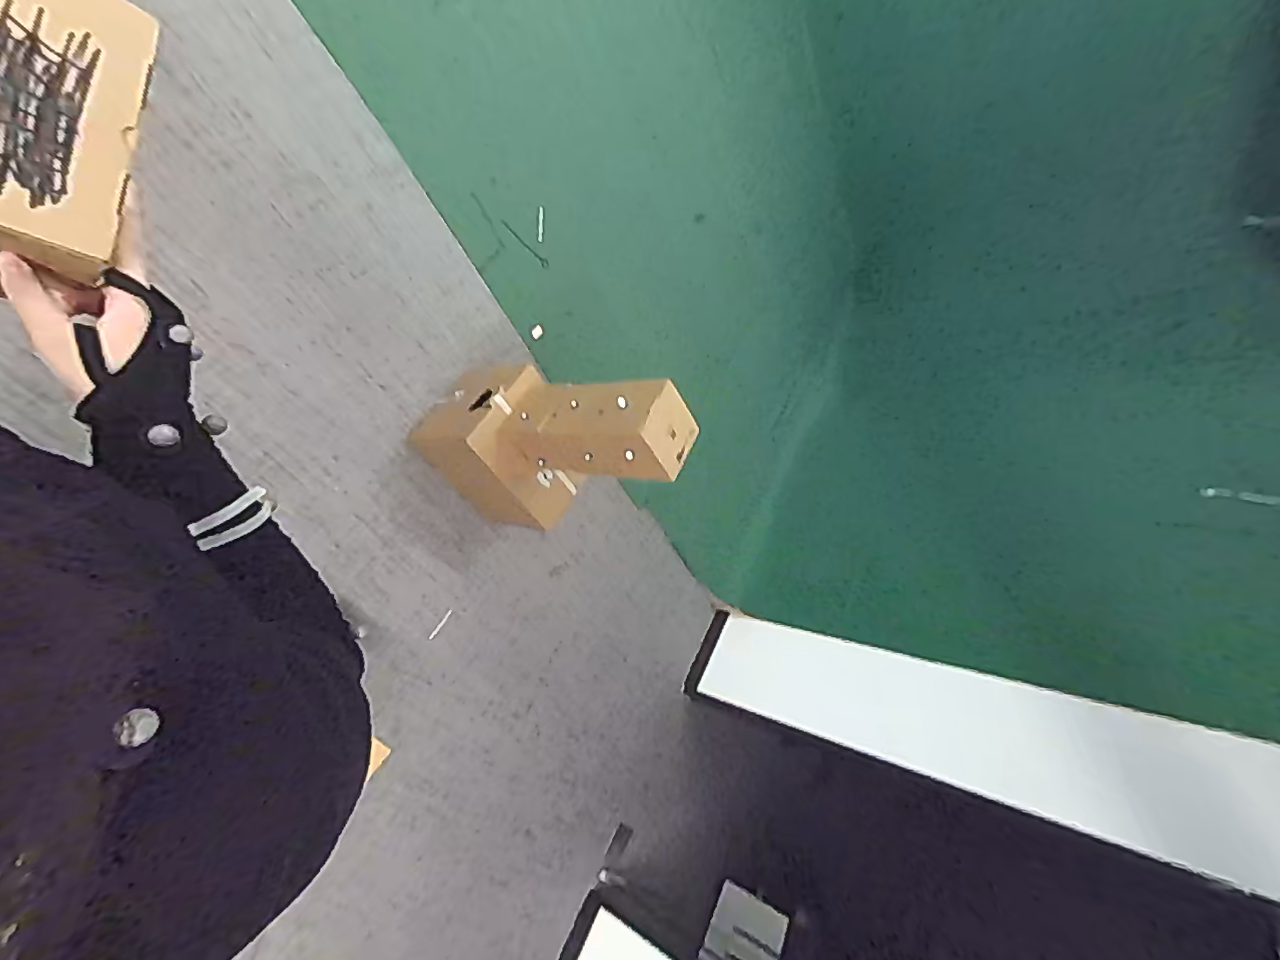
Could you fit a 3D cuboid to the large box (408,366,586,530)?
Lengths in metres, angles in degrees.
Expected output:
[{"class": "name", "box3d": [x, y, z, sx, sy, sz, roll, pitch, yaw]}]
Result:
[{"class": "large box", "box3d": [-0.419, -0.096, 1.680, 0.320, 0.320, 0.408, -59, 135, -29]}]

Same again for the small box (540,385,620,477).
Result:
[{"class": "small box", "box3d": [-0.124, -0.124, 1.394, 0.179, 0.176, 0.168, 51, 56, -41]}]

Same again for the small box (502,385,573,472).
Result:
[{"class": "small box", "box3d": [-0.253, -0.139, 1.493, 0.168, 0.176, 0.179, 55, 52, -39]}]

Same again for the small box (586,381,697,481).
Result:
[{"class": "small box", "box3d": [0.003, -0.113, 1.288, 0.179, 0.176, 0.168, 53, 55, -39]}]
